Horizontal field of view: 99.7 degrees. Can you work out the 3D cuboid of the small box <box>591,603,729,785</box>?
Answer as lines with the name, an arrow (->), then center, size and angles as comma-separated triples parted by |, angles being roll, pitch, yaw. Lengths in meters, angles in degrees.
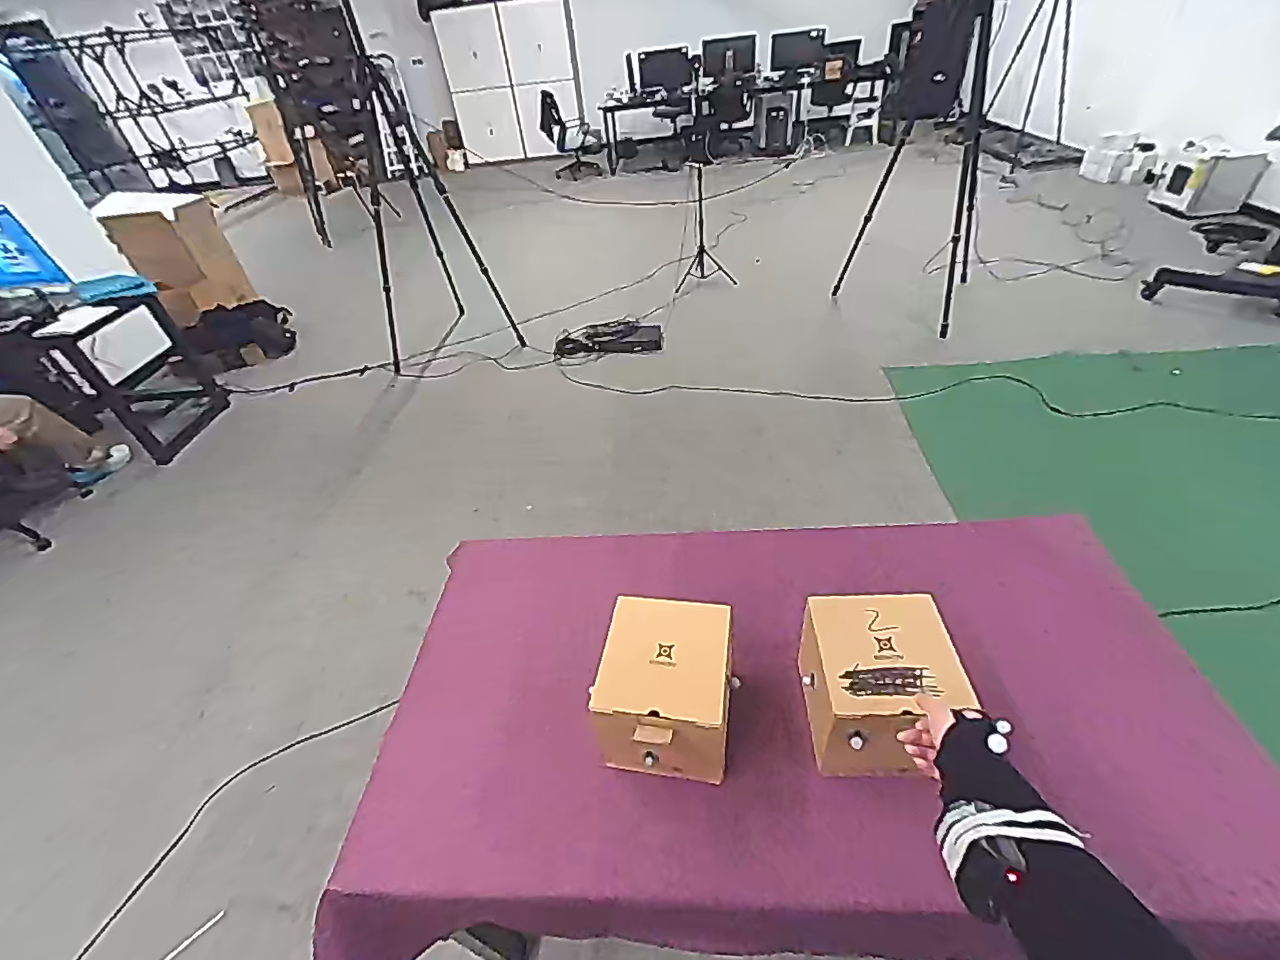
small box -> 0.039, 0.304, 0.777 | 0.168, 0.176, 0.179 | 2, 42, 12
